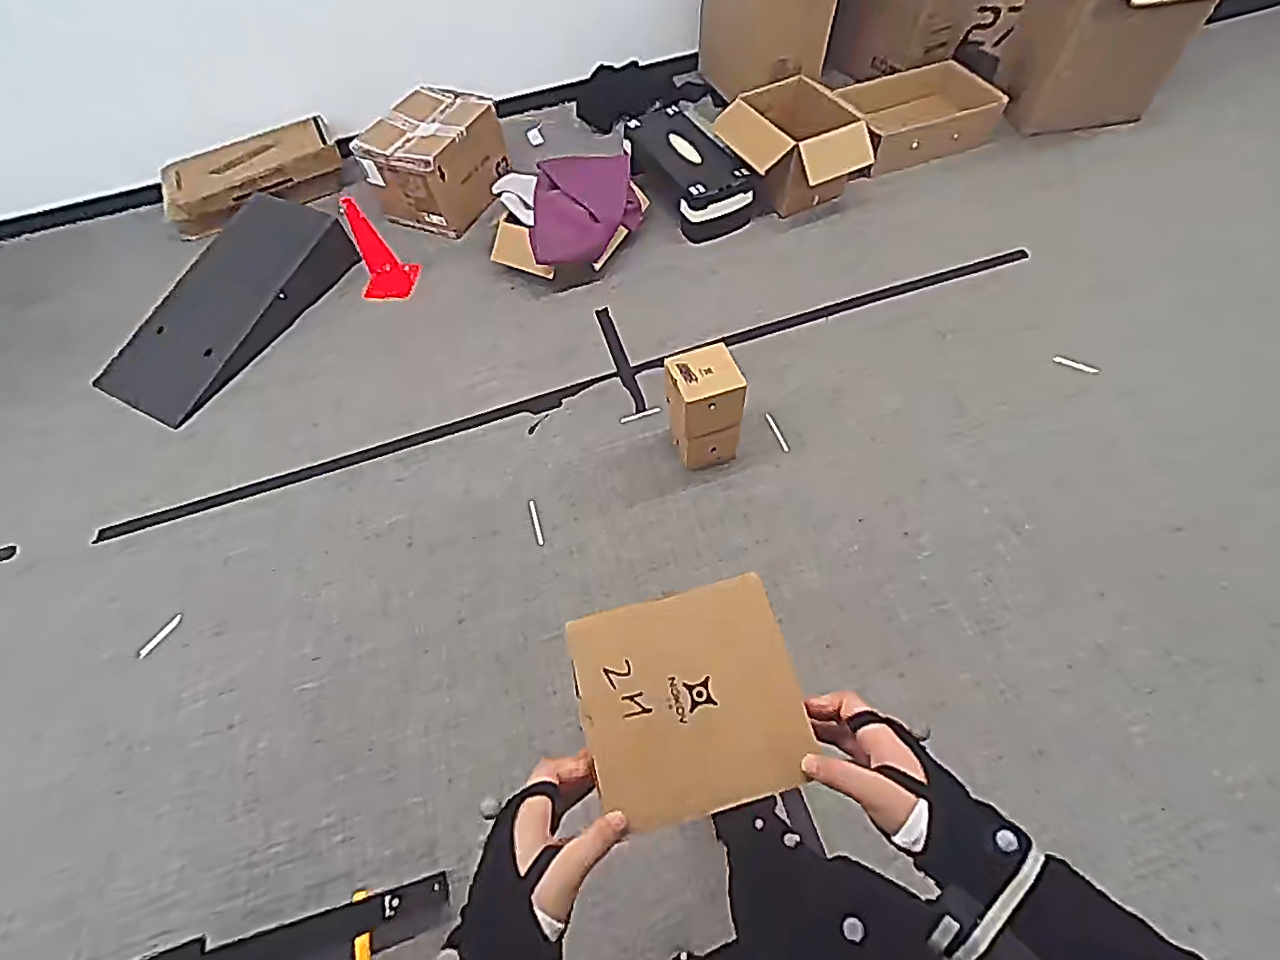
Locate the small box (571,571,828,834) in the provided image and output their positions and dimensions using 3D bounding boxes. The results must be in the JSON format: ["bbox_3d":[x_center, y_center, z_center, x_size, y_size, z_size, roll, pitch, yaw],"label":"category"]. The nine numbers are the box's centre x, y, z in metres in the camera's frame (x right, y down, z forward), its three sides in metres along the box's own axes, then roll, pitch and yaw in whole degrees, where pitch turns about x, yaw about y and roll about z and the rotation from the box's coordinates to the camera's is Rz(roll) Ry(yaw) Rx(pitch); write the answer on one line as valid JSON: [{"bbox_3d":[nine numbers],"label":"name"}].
[{"bbox_3d":[0.043,0.199,0.509,0.179,0.176,0.168,-14,68,-5],"label":"small box"}]

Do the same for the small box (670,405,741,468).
[{"bbox_3d":[0.196,-0.154,1.644,0.168,0.176,0.179,-16,61,-5],"label":"small box"}]

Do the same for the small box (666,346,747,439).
[{"bbox_3d":[0.180,-0.237,1.501,0.179,0.176,0.168,-17,60,-7],"label":"small box"}]
